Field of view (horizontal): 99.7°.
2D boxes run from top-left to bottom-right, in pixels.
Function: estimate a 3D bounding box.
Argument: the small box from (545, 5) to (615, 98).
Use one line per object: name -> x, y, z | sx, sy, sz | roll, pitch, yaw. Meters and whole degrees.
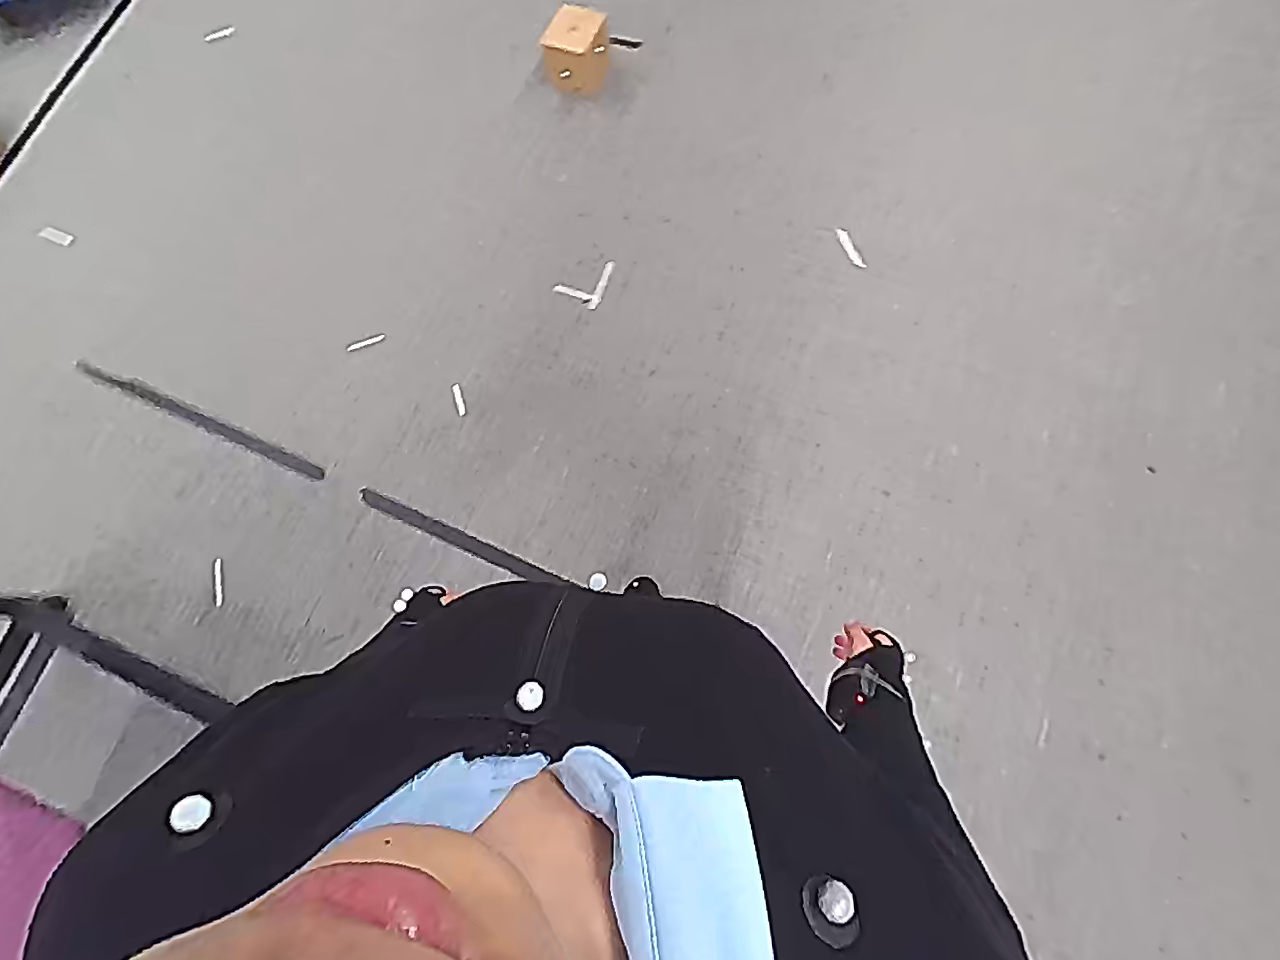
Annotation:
small box -> -0.199, -1.472, 1.868 | 0.168, 0.176, 0.179 | 24, 80, 10
